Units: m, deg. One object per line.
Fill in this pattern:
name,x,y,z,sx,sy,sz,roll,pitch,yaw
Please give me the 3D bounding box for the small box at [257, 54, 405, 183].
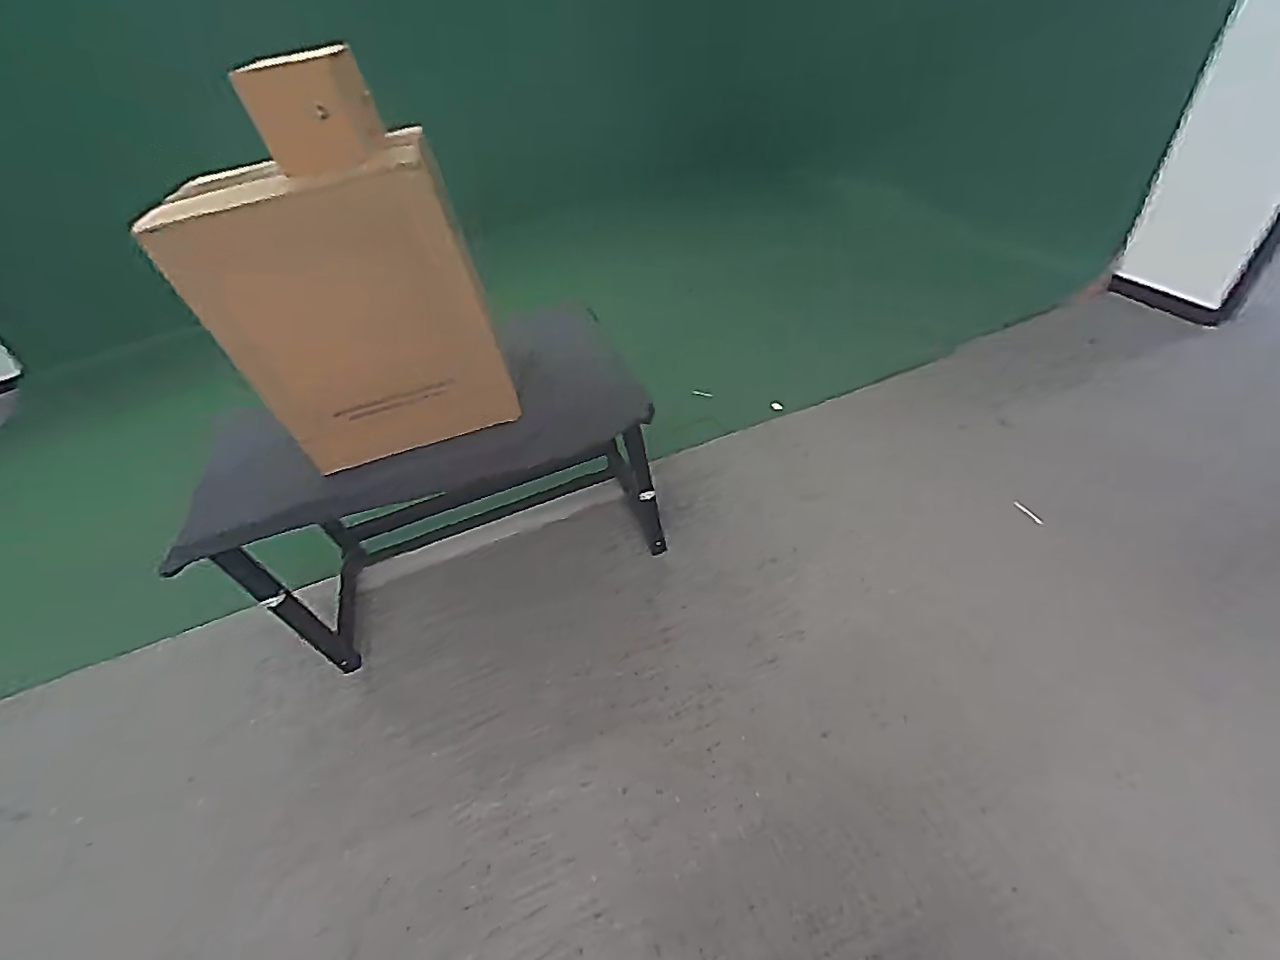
small box,-0.603,-0.724,1.087,0.179,0.176,0.168,-10,44,4
